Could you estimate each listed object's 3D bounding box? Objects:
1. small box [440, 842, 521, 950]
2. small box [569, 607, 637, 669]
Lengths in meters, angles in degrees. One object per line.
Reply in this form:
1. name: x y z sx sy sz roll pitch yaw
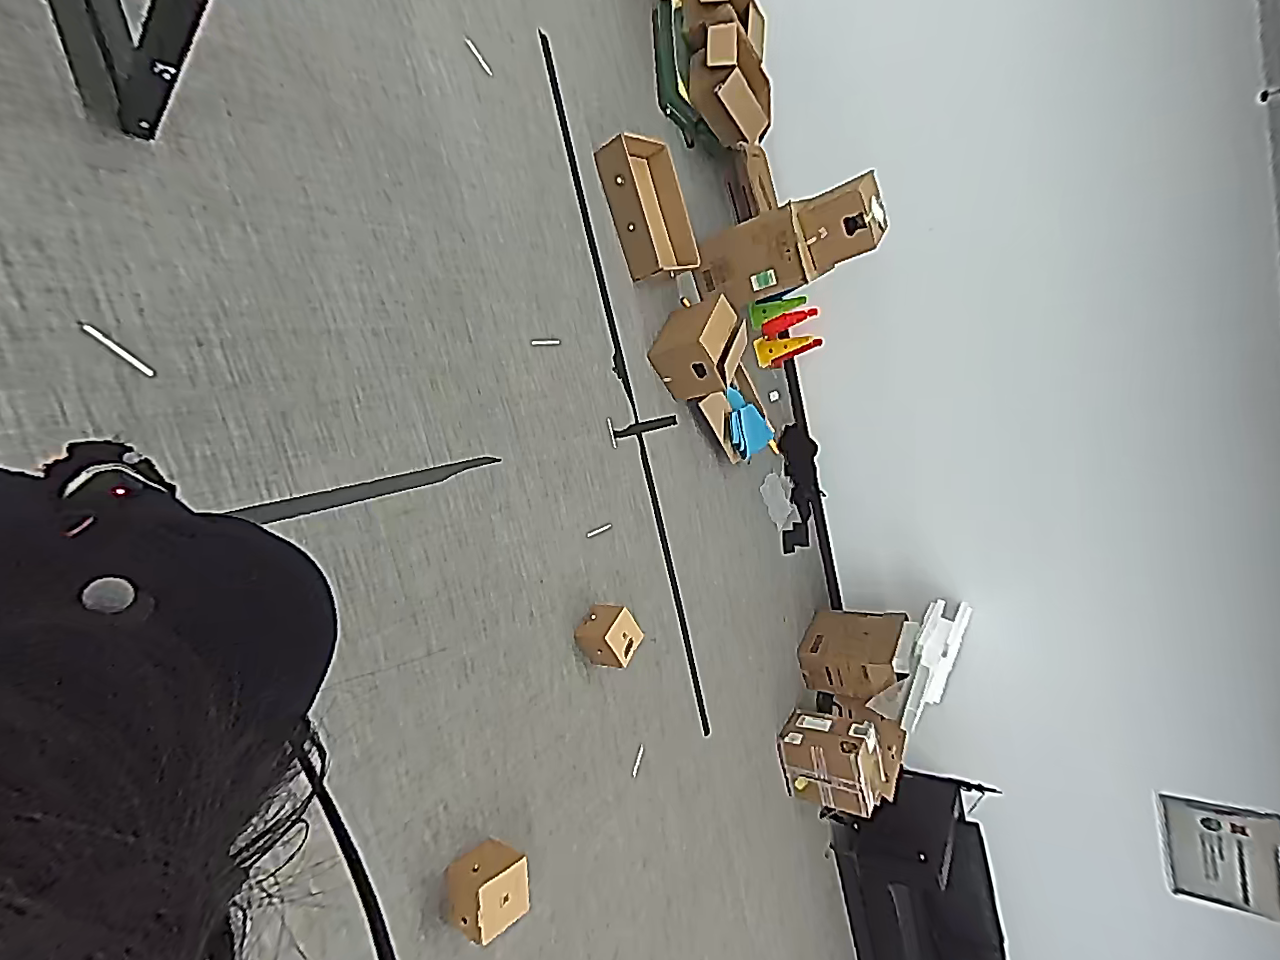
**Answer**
1. small box: -0.483 1.232 1.616 0.179 0.176 0.168 0 86 -53
2. small box: -0.147 0.619 2.139 0.168 0.176 0.179 -52 123 -43
